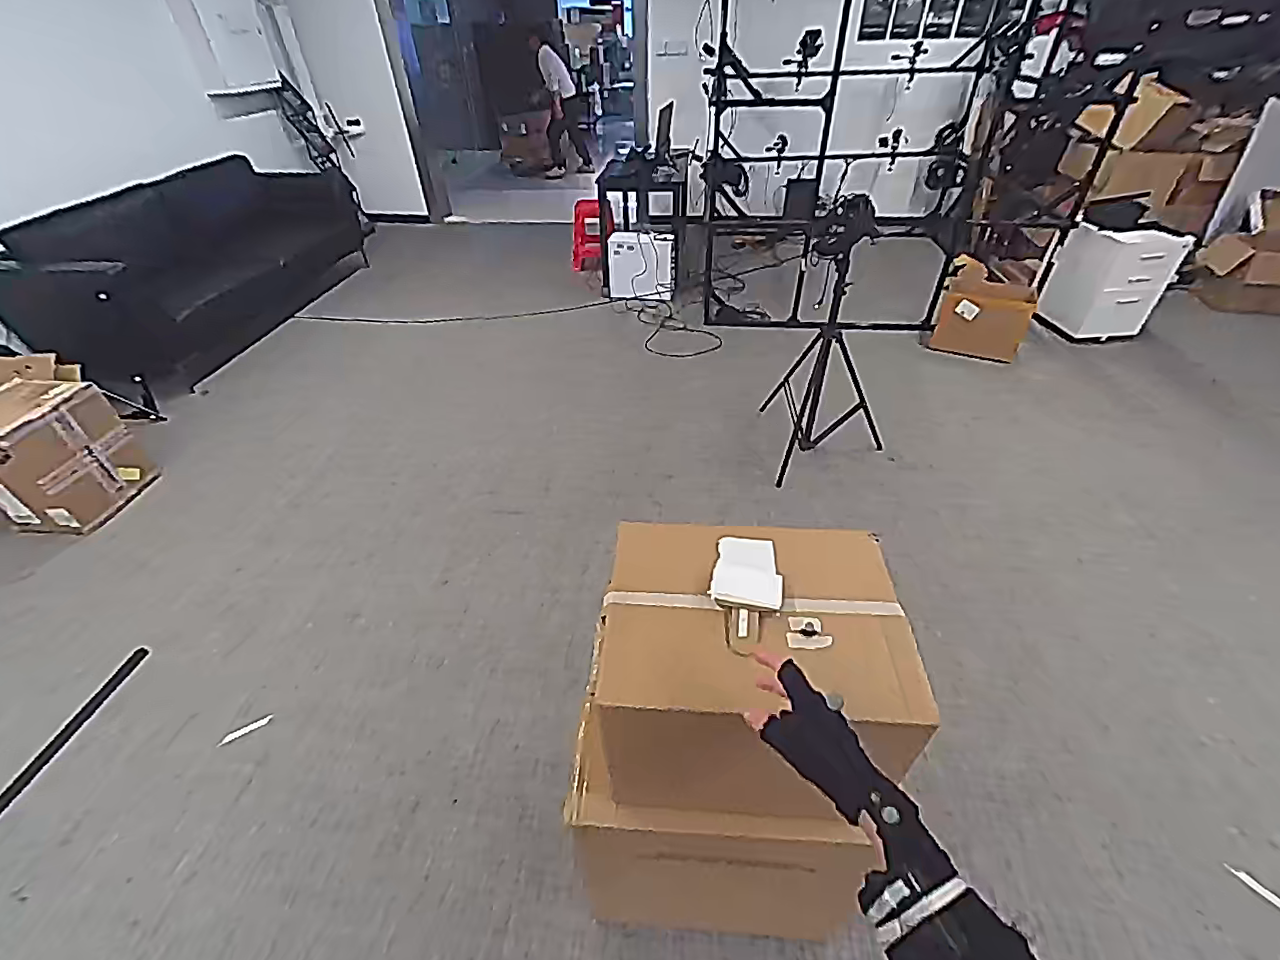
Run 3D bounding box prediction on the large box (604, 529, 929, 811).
[{"bbox_3d":[0.160,0.297,0.864,0.408,0.320,0.320,2,40,3],"label":"large box"}]
